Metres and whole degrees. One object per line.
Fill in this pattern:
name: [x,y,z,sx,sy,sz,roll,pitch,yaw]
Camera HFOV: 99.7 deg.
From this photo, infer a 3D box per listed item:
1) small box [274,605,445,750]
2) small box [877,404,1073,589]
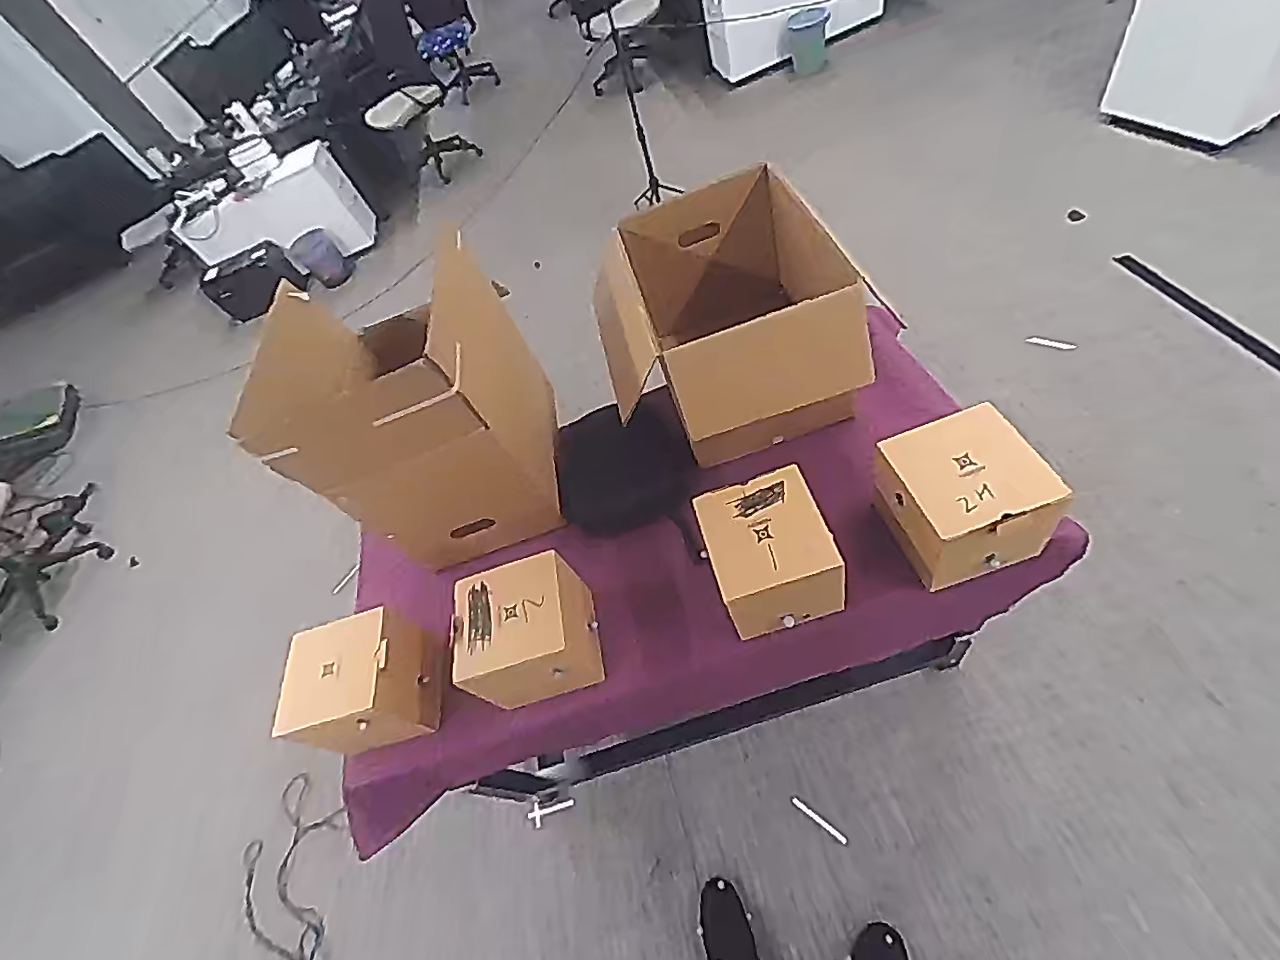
small box: [-0.456,0.337,0.908,0.179,0.176,0.168,-18,52,6]
small box: [0.458,0.029,0.778,0.168,0.176,0.179,-21,52,7]
